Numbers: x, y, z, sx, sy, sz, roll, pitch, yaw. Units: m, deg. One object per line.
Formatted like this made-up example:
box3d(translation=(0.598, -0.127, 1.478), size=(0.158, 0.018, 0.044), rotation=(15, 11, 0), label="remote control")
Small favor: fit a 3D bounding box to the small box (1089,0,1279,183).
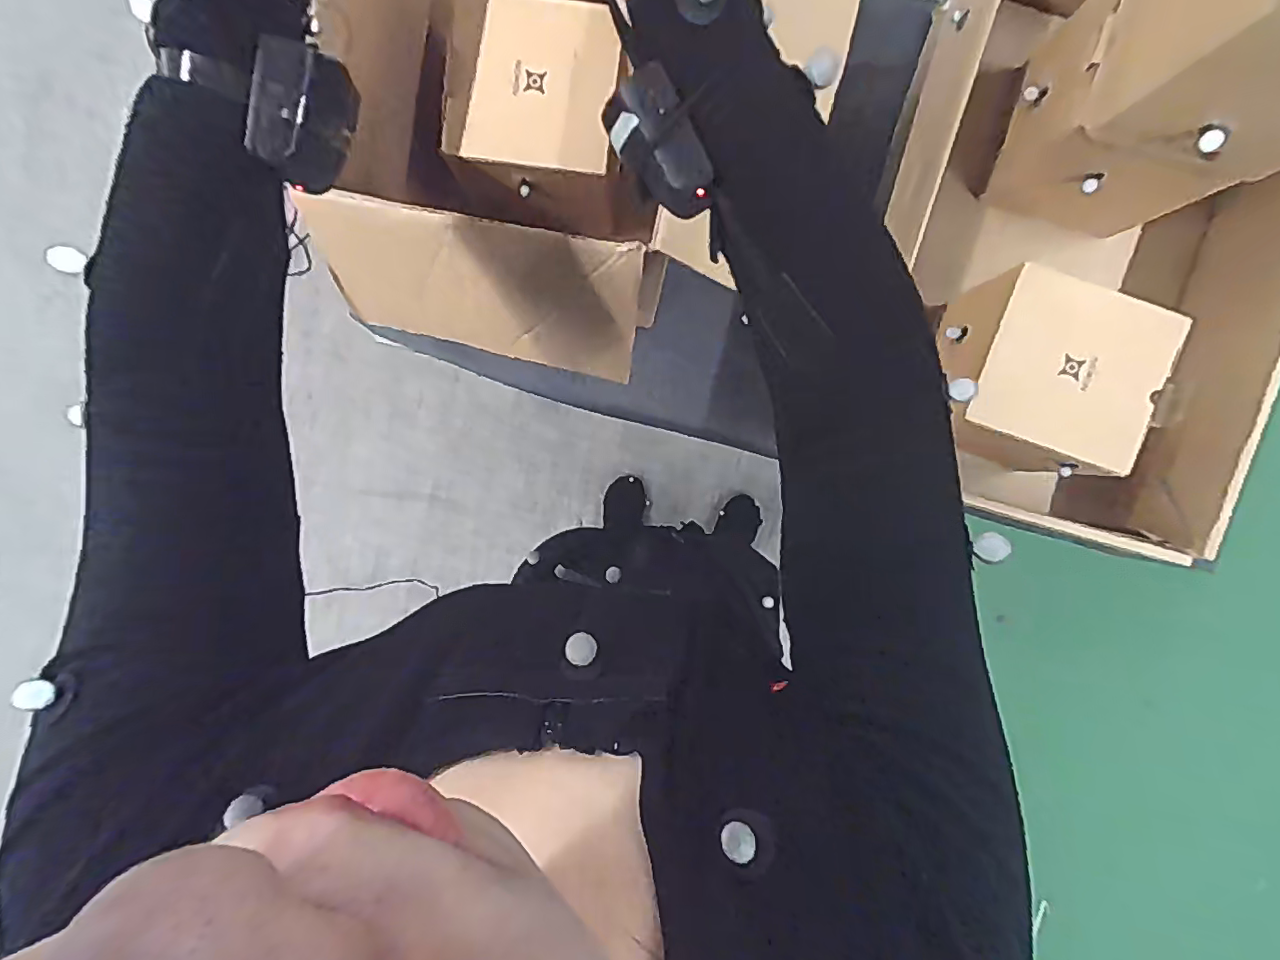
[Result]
box3d(translation=(0.518, -0.377, 0.429), size=(0.168, 0.176, 0.179), rotation=(16, 97, 0), label="small box")
